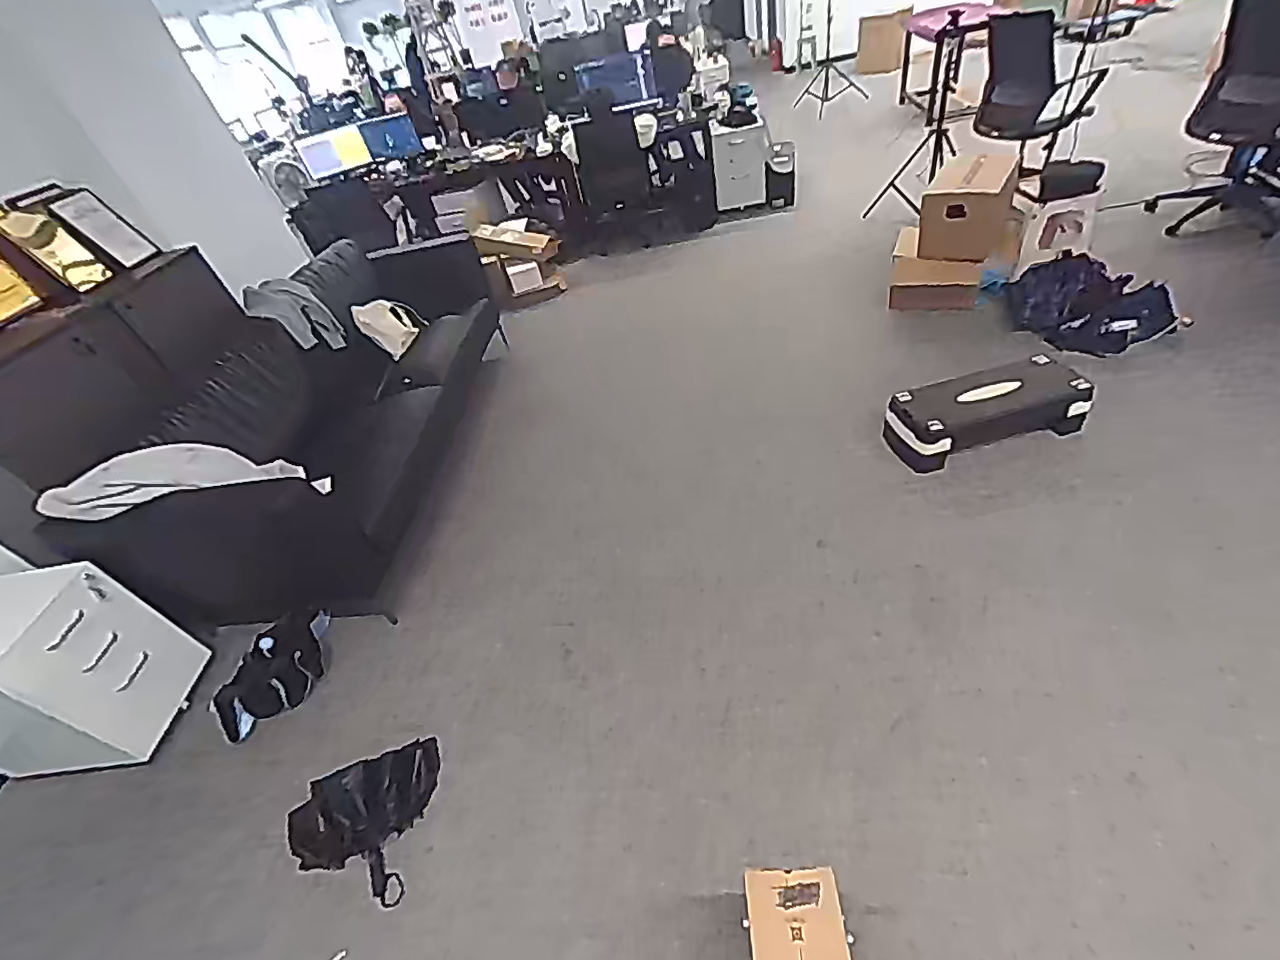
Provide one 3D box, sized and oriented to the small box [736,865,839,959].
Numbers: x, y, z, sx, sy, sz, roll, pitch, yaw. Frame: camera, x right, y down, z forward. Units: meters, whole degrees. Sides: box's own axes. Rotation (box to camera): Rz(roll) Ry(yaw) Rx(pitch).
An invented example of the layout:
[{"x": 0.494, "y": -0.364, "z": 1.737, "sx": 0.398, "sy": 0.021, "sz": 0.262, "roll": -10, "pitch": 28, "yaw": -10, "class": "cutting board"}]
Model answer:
[{"x": 0.274, "y": 0.847, "z": 1.012, "sx": 0.168, "sy": 0.176, "sz": 0.179, "roll": -8, "pitch": 43, "yaw": 9, "class": "small box"}]
